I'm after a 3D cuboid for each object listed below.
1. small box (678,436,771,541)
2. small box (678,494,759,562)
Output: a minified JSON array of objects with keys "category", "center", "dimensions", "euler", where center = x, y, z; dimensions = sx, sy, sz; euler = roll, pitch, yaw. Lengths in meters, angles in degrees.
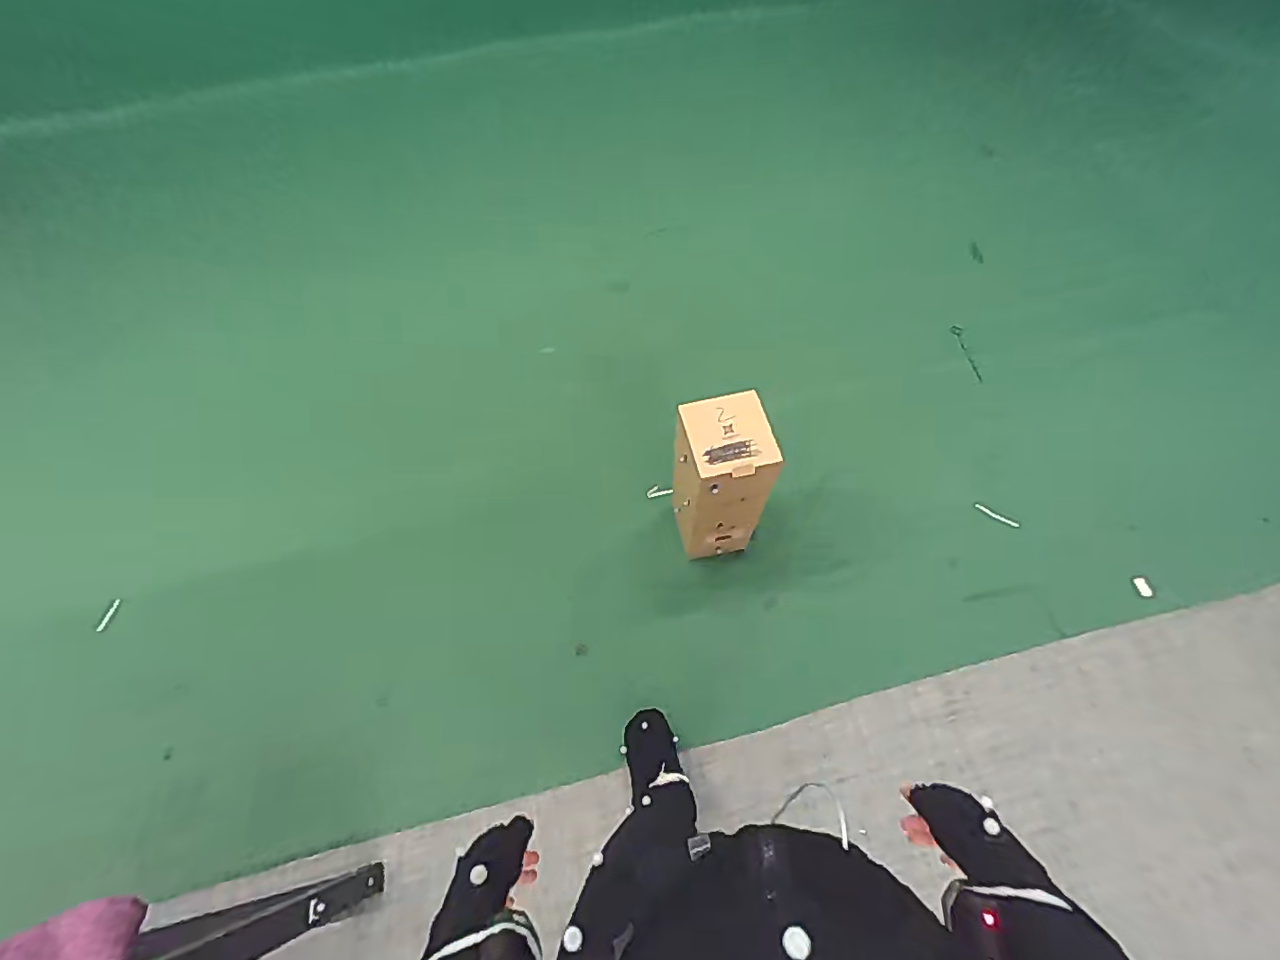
[{"category":"small box","center":[0.190,0.024,1.281],"dimensions":[0.168,0.176,0.179],"euler":[-13,64,-5]},{"category":"small box","center":[0.197,0.097,1.427],"dimensions":[0.168,0.176,0.179],"euler":[-12,64,-3]}]
